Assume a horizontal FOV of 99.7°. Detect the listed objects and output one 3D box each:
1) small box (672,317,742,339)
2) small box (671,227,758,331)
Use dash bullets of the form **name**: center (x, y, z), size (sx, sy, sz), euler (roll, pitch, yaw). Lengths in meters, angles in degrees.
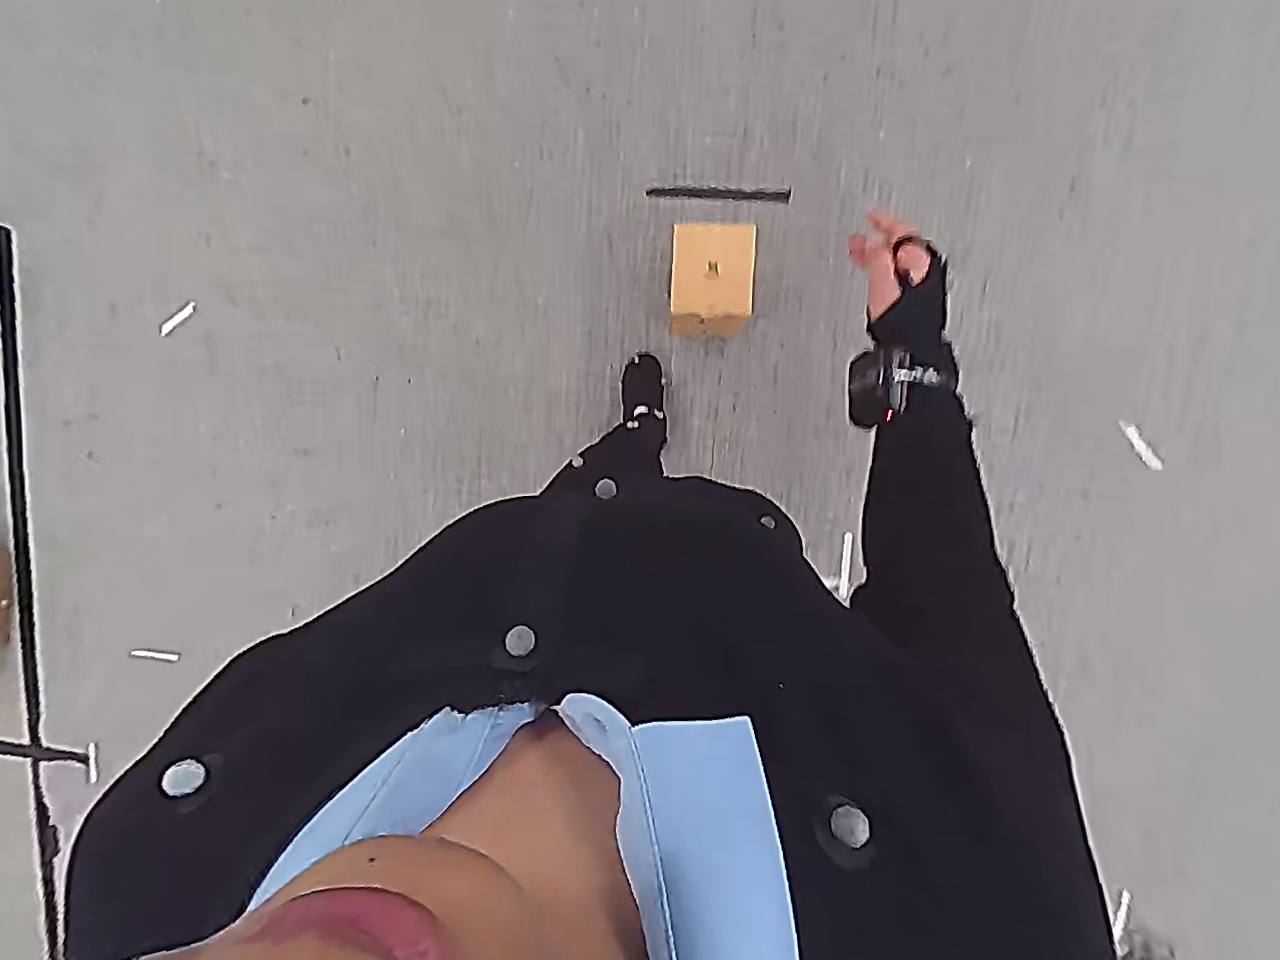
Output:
- **small box**: center (0.165, -0.444, 1.324), size (0.168, 0.176, 0.179), euler (2, 97, 4)
- **small box**: center (0.153, -0.425, 1.163), size (0.168, 0.176, 0.179), euler (3, 98, 4)
